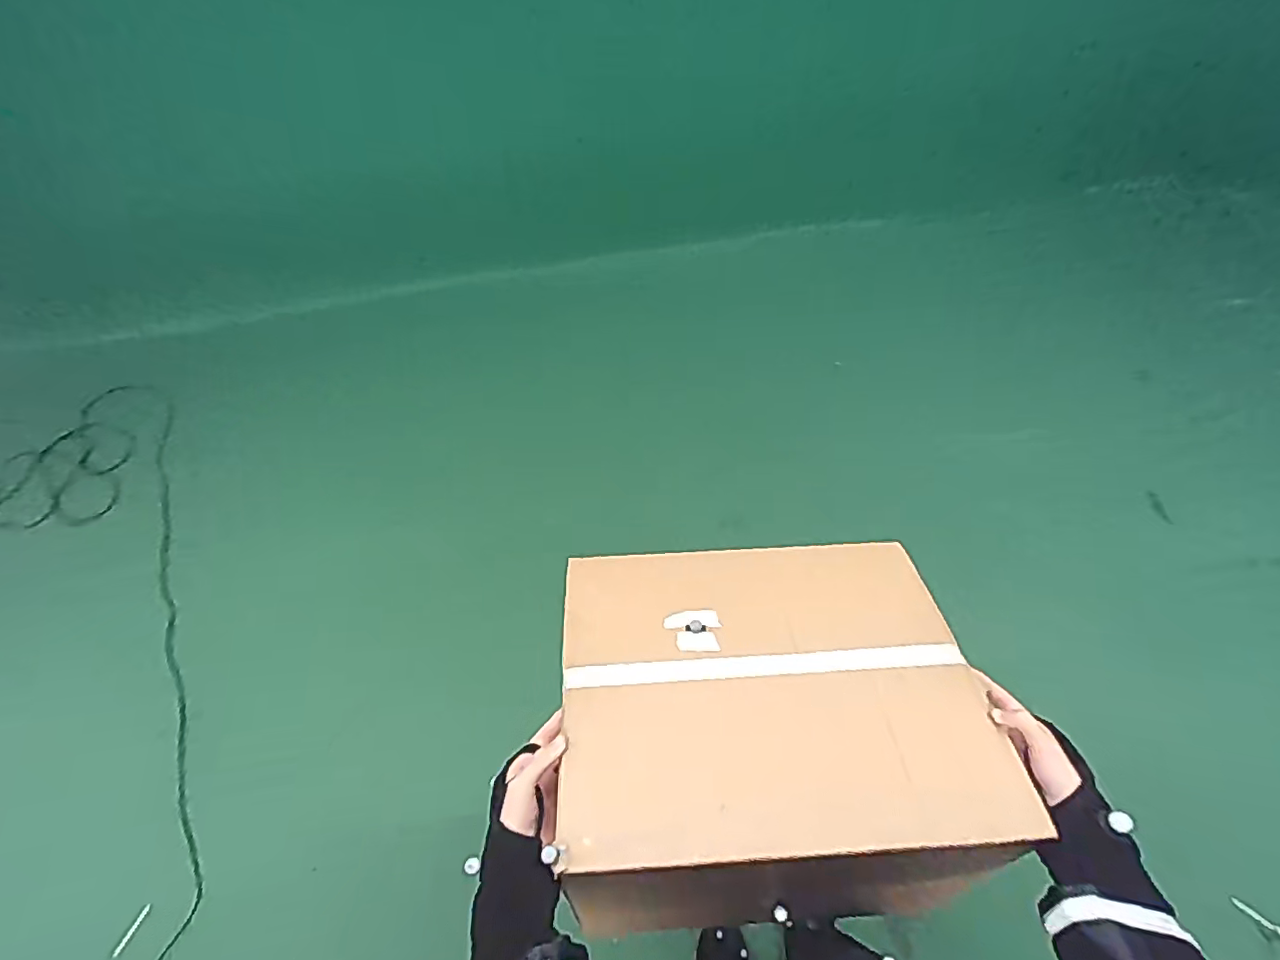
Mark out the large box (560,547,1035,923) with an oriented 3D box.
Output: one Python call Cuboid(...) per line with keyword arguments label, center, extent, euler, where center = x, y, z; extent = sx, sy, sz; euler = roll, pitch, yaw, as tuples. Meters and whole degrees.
Cuboid(label="large box", center=(0.130, 0.306, 0.651), extent=(0.408, 0.320, 0.320), euler=(-3, 43, -1))
